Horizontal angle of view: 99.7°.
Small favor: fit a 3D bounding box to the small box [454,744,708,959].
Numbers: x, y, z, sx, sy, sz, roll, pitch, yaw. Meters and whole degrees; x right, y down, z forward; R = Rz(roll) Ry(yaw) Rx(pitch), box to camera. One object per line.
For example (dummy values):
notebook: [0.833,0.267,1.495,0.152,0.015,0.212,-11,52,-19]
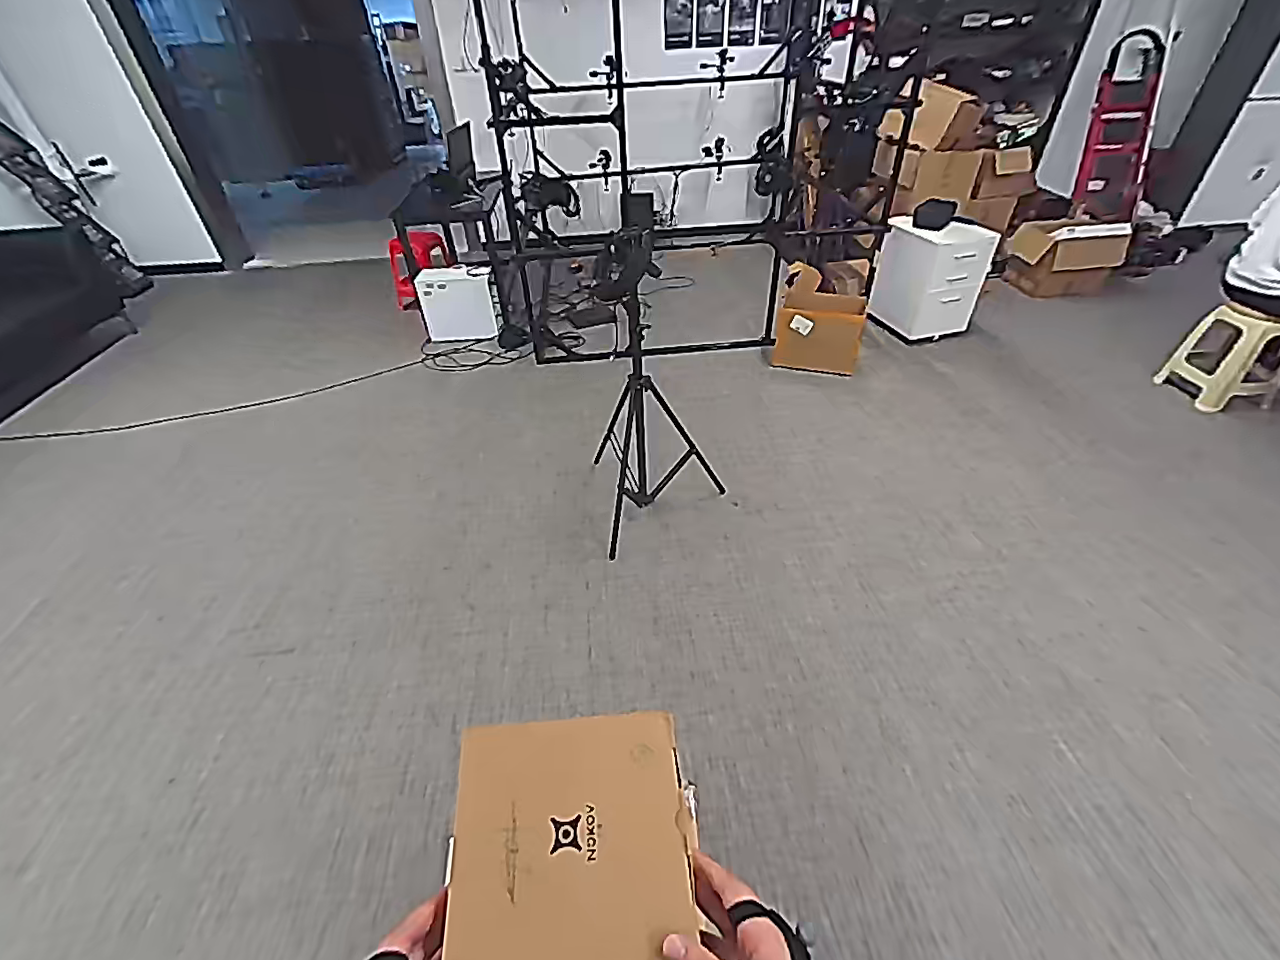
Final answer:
small box: [-0.049,0.342,0.465,0.179,0.176,0.168,-4,51,-5]
